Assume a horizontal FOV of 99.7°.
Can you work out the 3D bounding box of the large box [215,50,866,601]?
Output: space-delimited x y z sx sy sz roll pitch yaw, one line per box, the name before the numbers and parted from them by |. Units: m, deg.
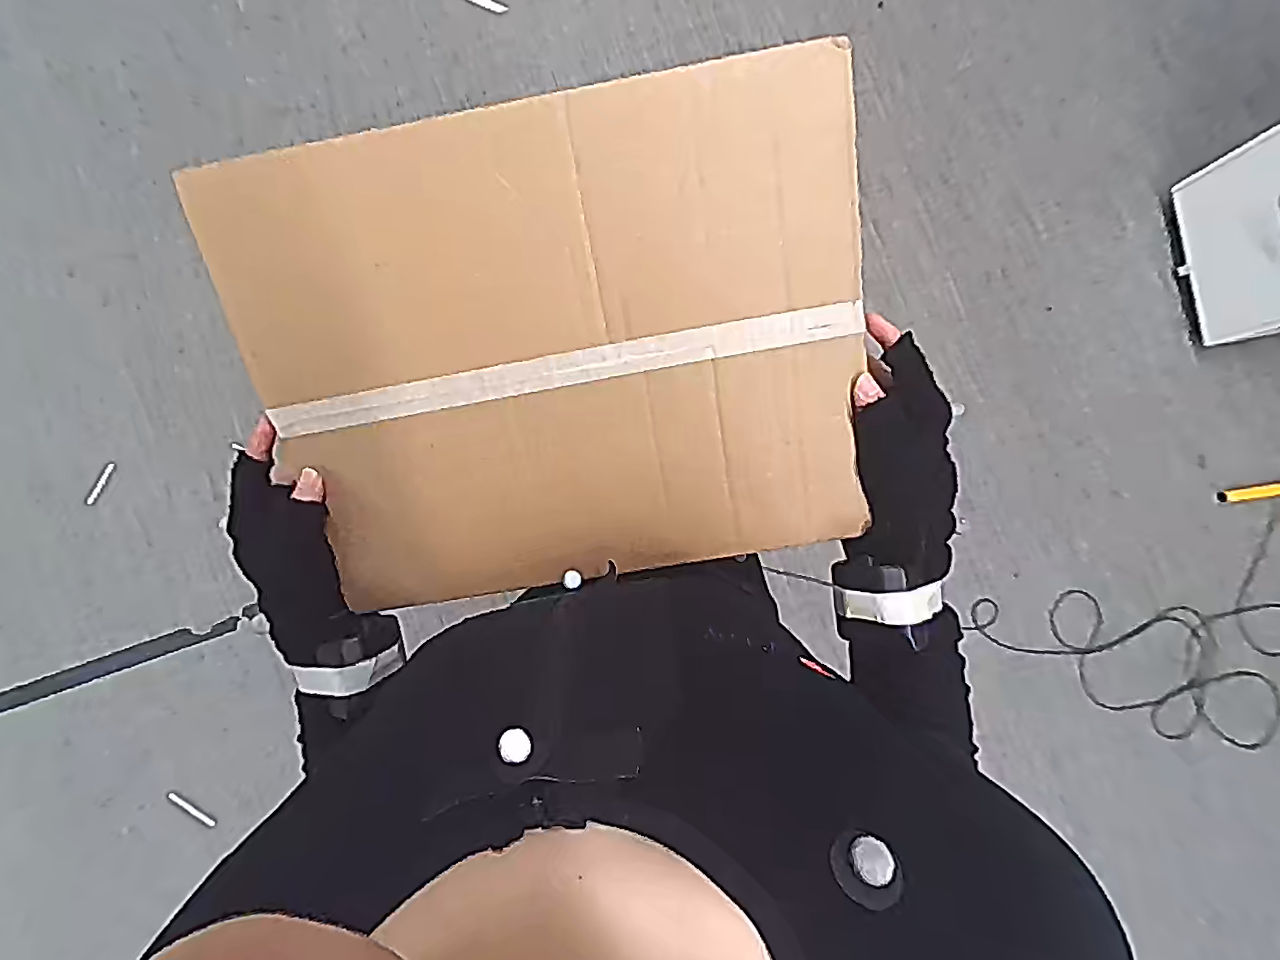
large box | -0.051 -0.123 0.514 0.408 0.320 0.320 -9 109 3
